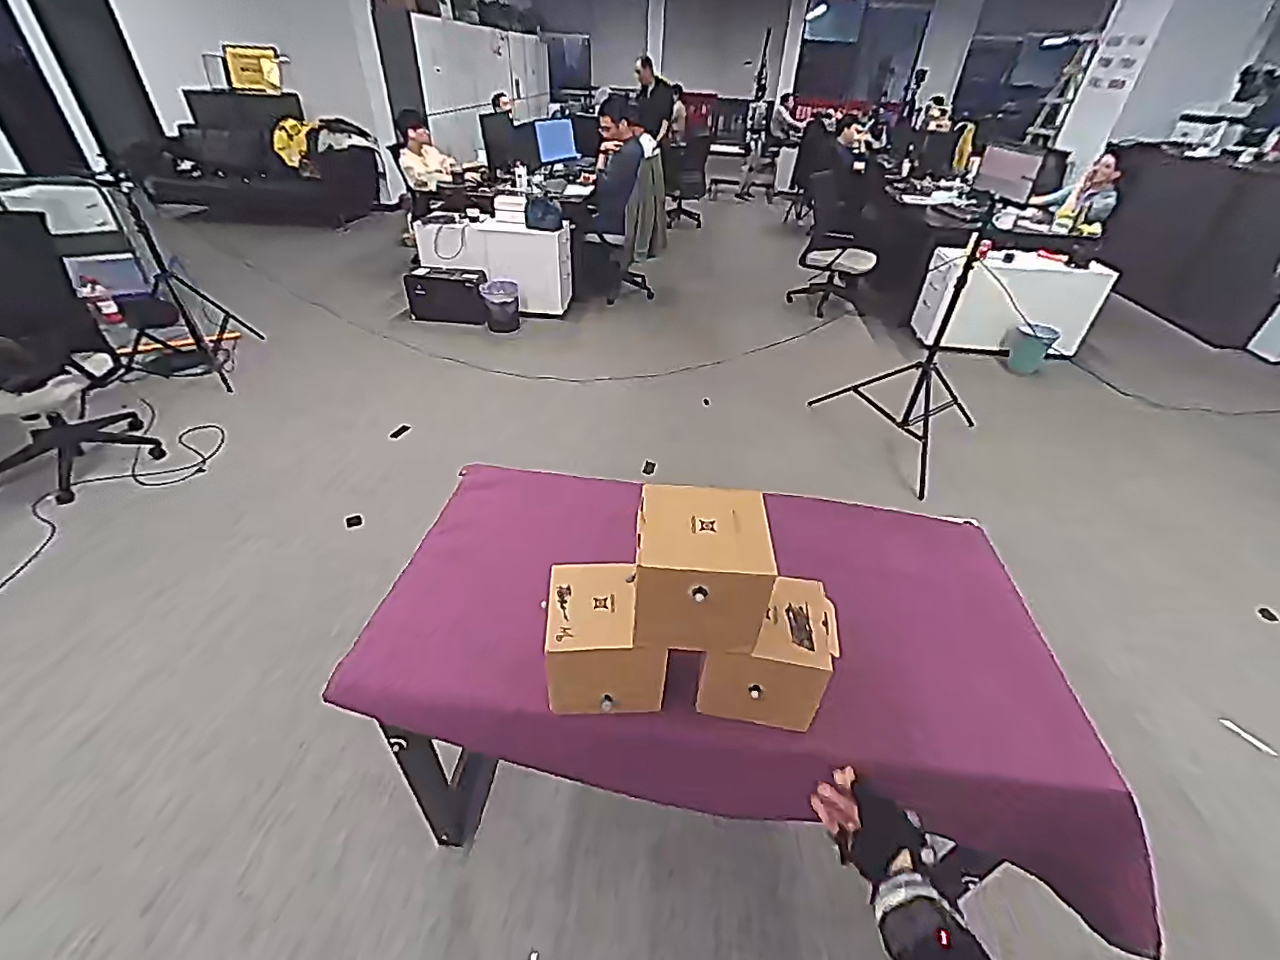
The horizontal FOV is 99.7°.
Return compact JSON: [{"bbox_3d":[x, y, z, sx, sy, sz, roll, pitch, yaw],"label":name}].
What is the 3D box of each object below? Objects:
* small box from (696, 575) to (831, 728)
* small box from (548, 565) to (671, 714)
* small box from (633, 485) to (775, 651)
[{"bbox_3d":[0.191,0.269,0.864,0.179,0.176,0.168,7,37,8],"label":"small box"},{"bbox_3d":[-0.053,0.255,0.867,0.179,0.176,0.168,0,36,-5],"label":"small box"},{"bbox_3d":[0.082,0.126,0.776,0.179,0.176,0.168,4,38,0],"label":"small box"}]
